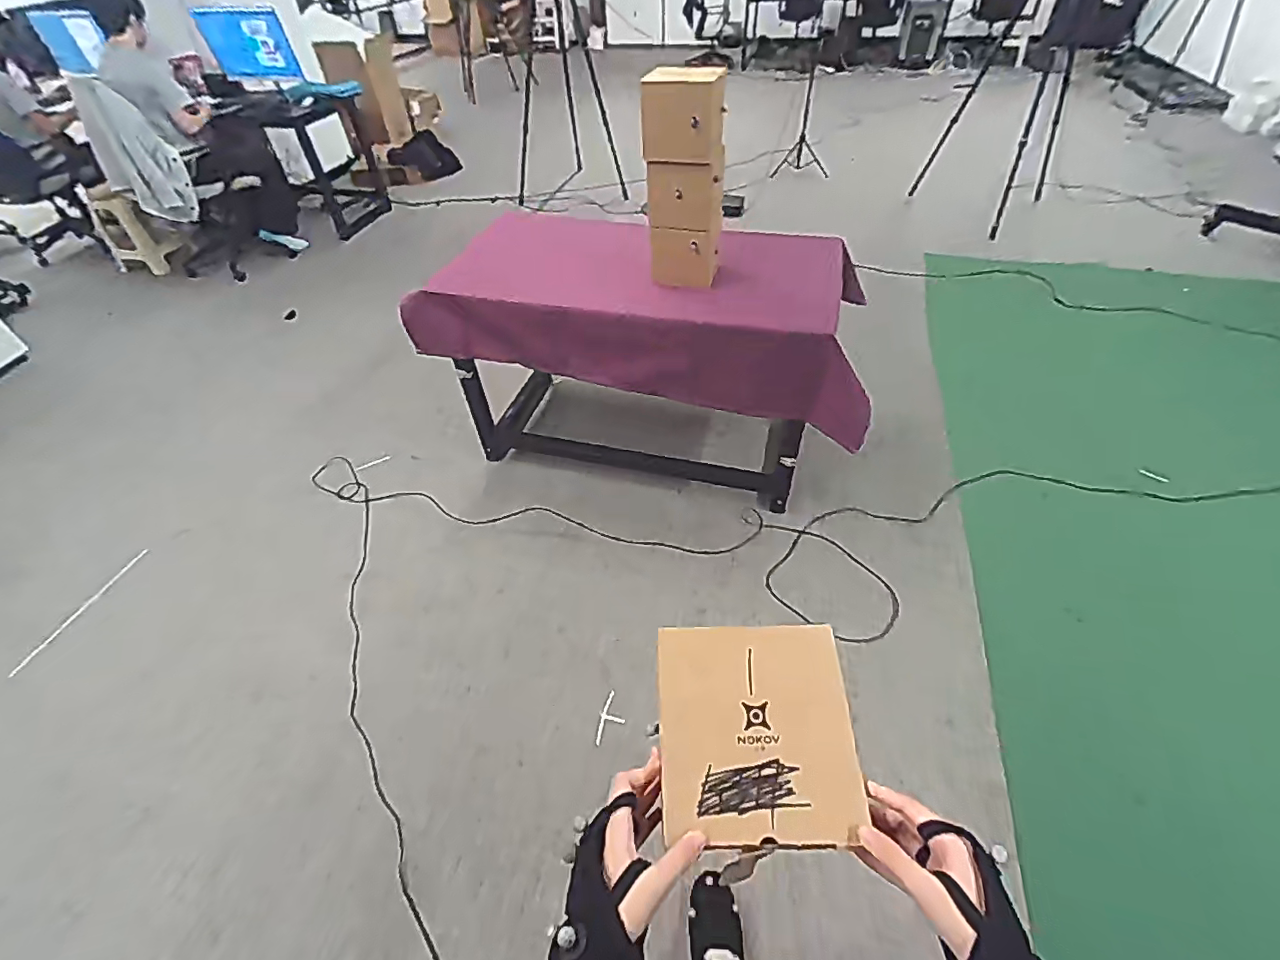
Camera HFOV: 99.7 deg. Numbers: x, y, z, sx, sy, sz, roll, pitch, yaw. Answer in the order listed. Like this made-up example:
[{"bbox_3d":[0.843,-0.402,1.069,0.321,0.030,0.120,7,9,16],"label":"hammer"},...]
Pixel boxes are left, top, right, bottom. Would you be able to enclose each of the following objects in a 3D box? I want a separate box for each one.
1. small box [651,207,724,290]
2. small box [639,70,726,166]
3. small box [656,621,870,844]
[{"bbox_3d":[0.138,-0.673,1.578,0.179,0.176,0.168,11,48,14],"label":"small box"},{"bbox_3d":[0.106,-0.893,1.337,0.179,0.176,0.168,11,47,14],"label":"small box"},{"bbox_3d":[0.101,0.249,0.533,0.168,0.176,0.179,-1,57,0],"label":"small box"}]
